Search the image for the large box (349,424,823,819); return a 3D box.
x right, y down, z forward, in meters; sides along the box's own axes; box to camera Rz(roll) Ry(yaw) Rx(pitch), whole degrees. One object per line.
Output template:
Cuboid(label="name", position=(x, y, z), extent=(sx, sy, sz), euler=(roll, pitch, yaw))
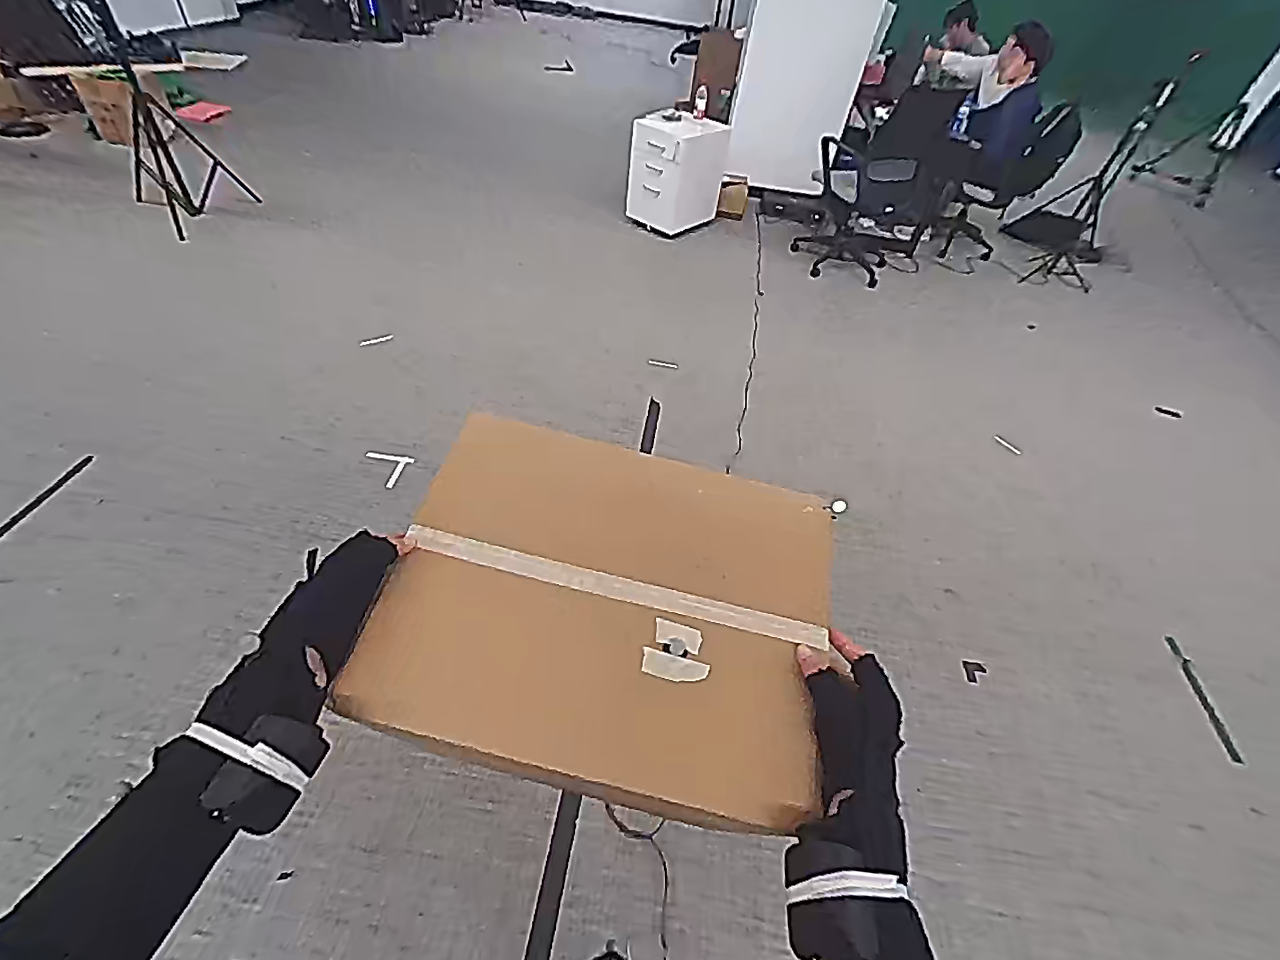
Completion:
Cuboid(label="large box", position=(-0.039, 0.183, 0.649), extent=(0.408, 0.320, 0.320), euler=(15, 59, 1))
